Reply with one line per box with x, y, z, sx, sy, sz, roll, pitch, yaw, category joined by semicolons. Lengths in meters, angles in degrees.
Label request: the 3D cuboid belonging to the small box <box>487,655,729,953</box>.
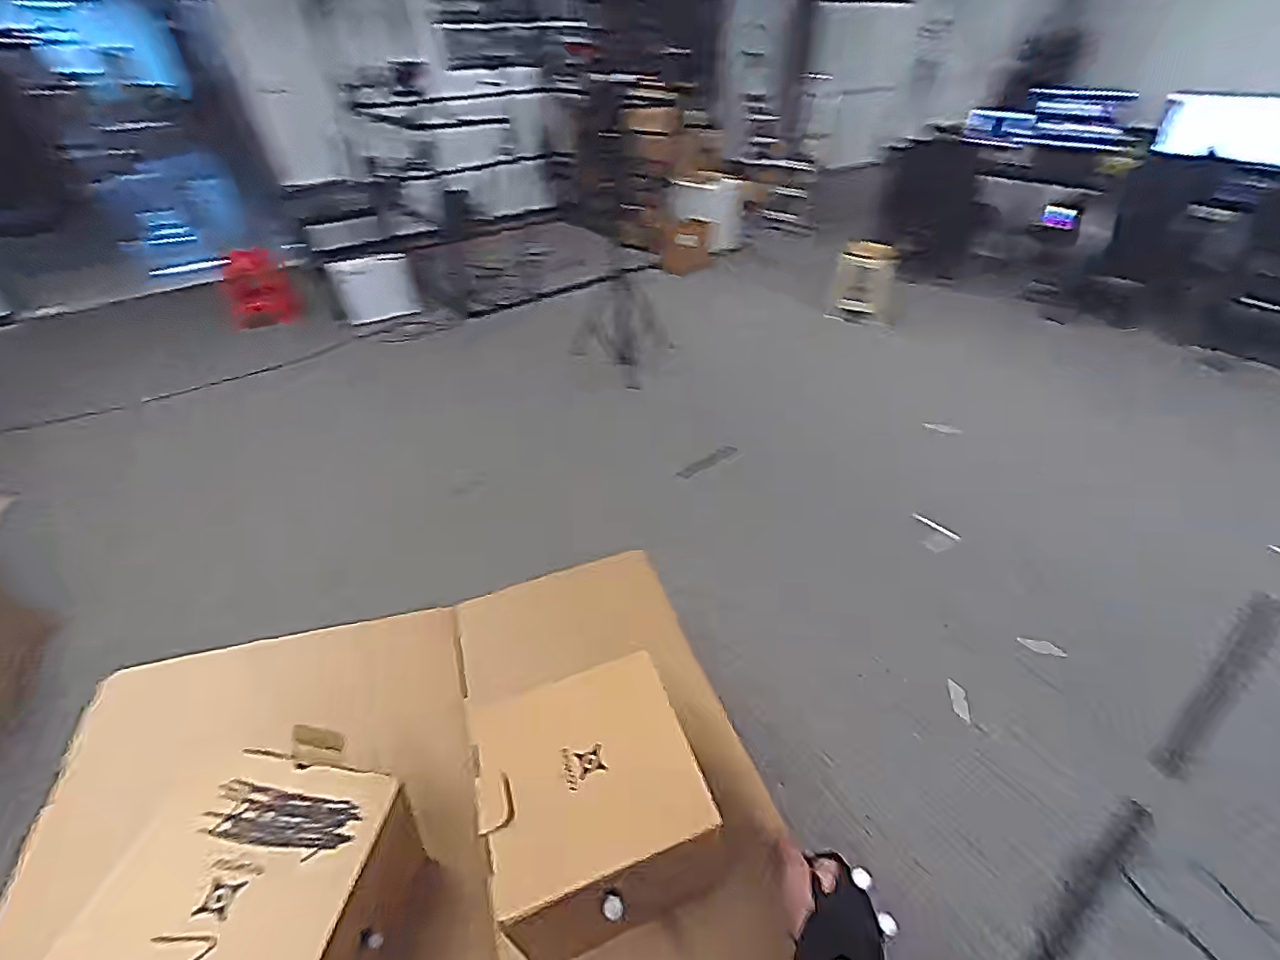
-0.032;0.305;0.516;0.179;0.176;0.168;-16;41;-12;small box
